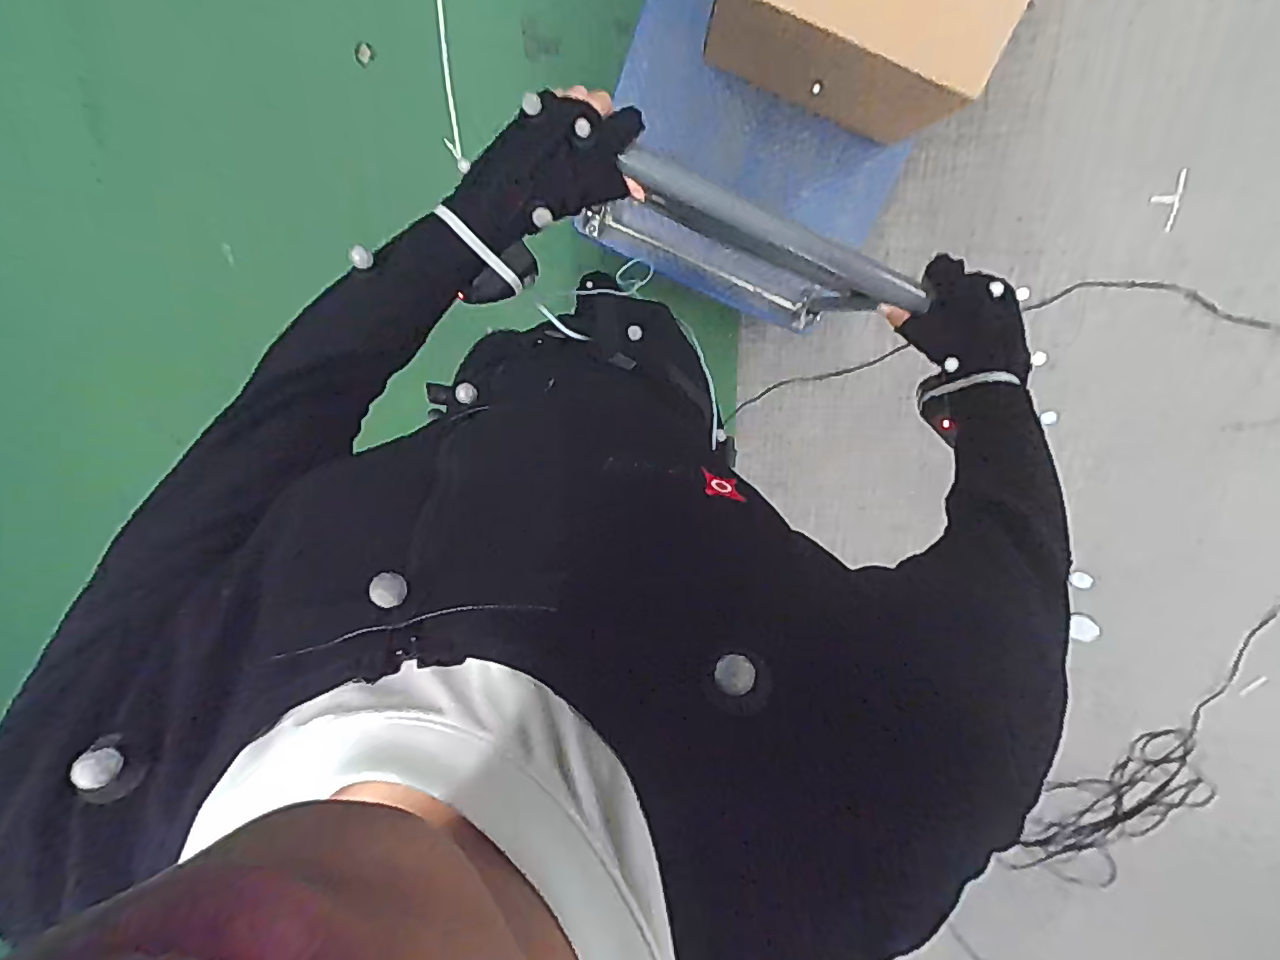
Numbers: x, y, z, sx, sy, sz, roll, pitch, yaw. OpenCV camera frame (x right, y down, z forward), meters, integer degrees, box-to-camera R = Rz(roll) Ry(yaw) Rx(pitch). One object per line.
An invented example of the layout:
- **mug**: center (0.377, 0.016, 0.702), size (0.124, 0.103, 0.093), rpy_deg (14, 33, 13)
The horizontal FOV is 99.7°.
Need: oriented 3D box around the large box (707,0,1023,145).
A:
- **large box**: center (0.354, -0.794, 0.849), size (0.408, 0.320, 0.320), rpy_deg (21, 109, -5)
